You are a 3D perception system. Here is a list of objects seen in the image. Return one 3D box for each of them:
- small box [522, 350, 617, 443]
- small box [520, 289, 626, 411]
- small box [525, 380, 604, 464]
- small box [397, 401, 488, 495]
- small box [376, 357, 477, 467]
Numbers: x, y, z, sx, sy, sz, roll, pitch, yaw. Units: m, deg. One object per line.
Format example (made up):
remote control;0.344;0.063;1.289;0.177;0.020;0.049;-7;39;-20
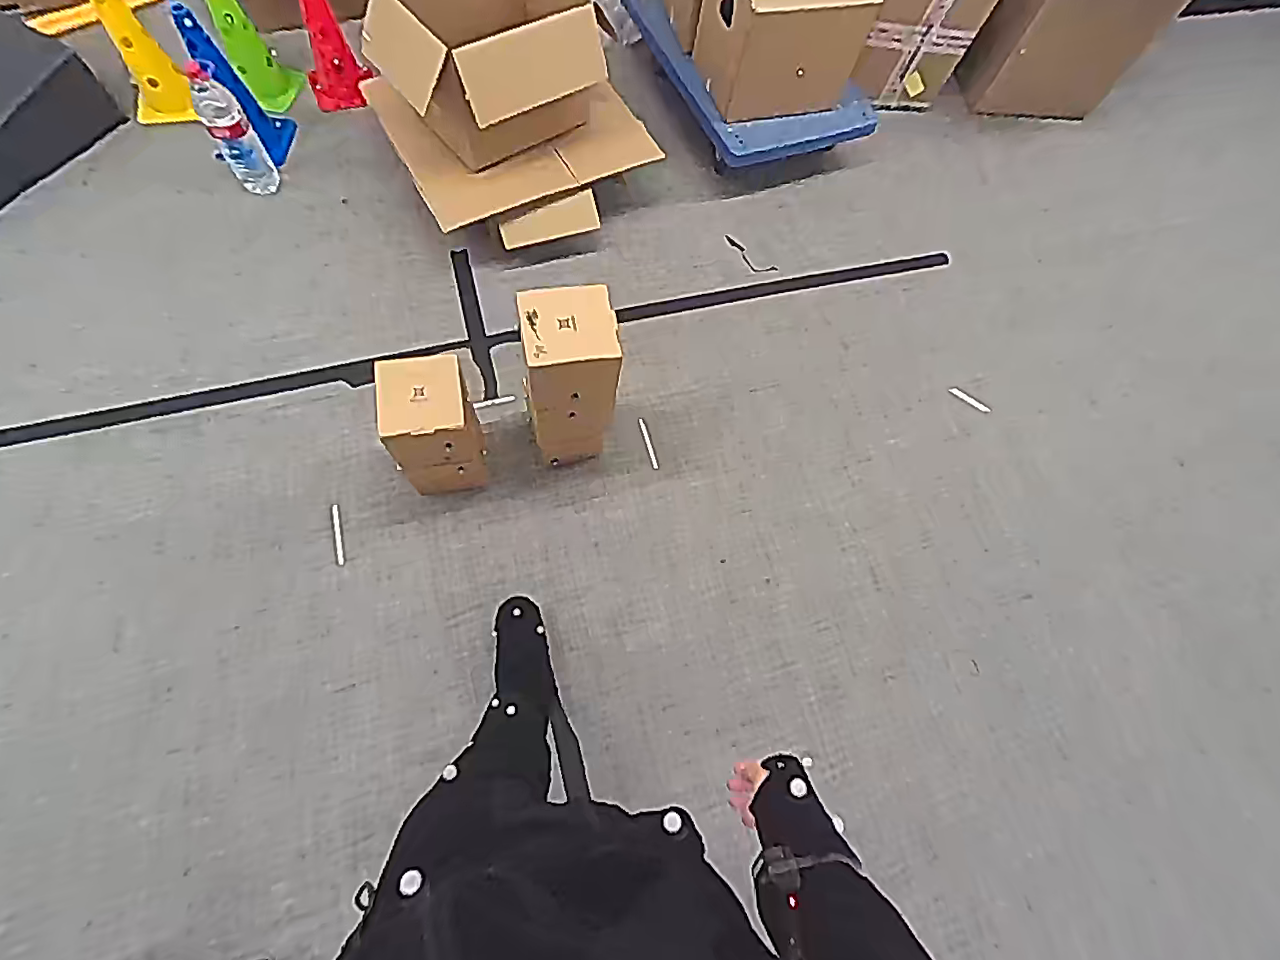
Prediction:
small box;-0.159;-0.197;1.220;0.179;0.176;0.168;-12;72;-13
small box;-0.137;-0.252;1.067;0.179;0.176;0.168;-8;71;-12
small box;-0.189;-0.153;1.377;0.168;0.176;0.179;-14;71;-13
small box;-0.474;-0.072;1.309;0.179;0.176;0.168;-8;70;-11
small box;-0.452;-0.138;1.162;0.168;0.176;0.179;-9;69;-13
